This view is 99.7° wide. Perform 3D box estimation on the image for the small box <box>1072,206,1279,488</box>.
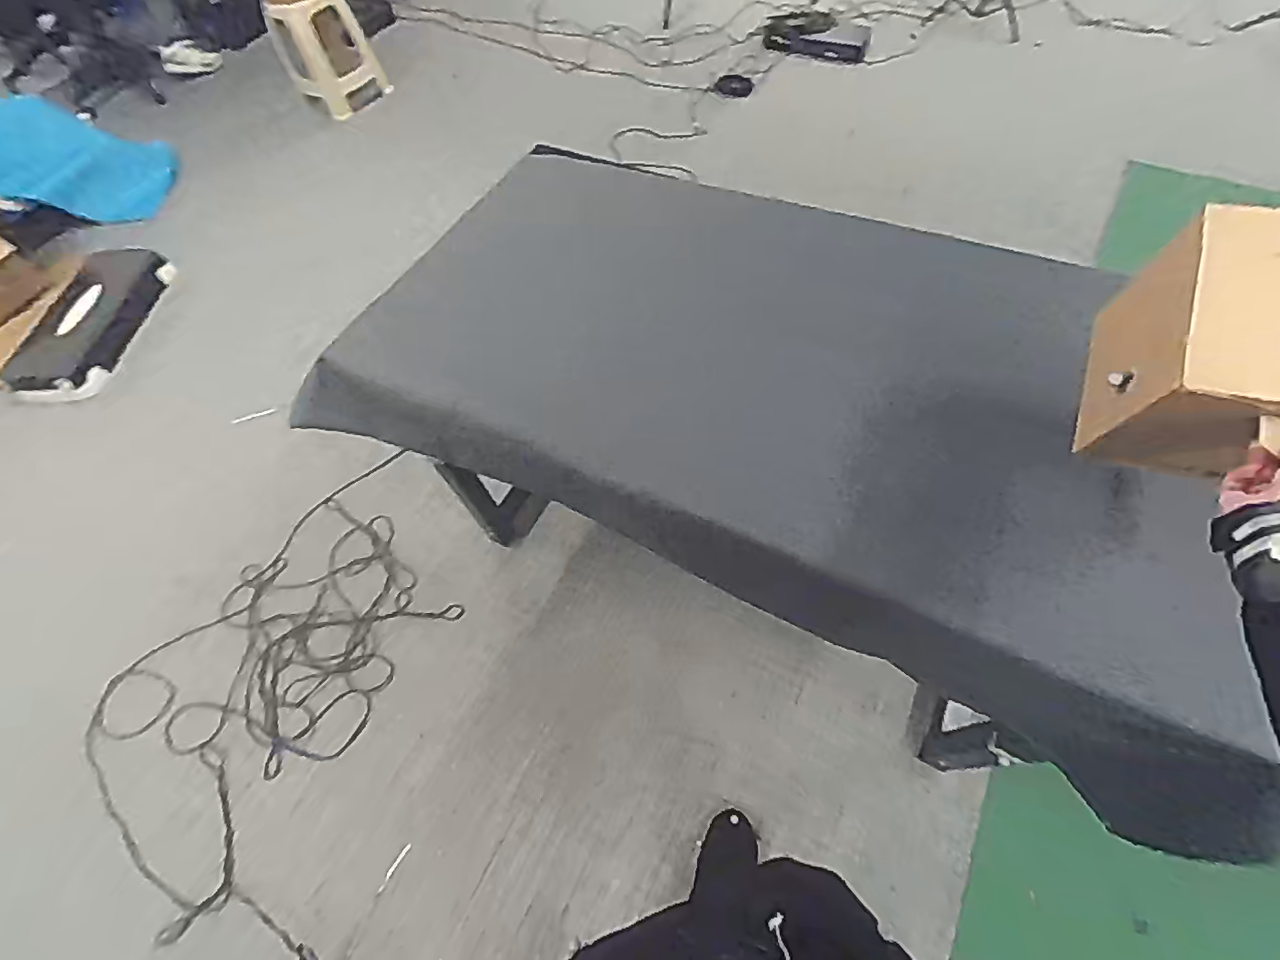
[{"bbox_3d":[0.531,-0.108,0.486,0.168,0.176,0.179,15,76,17],"label":"small box"}]
